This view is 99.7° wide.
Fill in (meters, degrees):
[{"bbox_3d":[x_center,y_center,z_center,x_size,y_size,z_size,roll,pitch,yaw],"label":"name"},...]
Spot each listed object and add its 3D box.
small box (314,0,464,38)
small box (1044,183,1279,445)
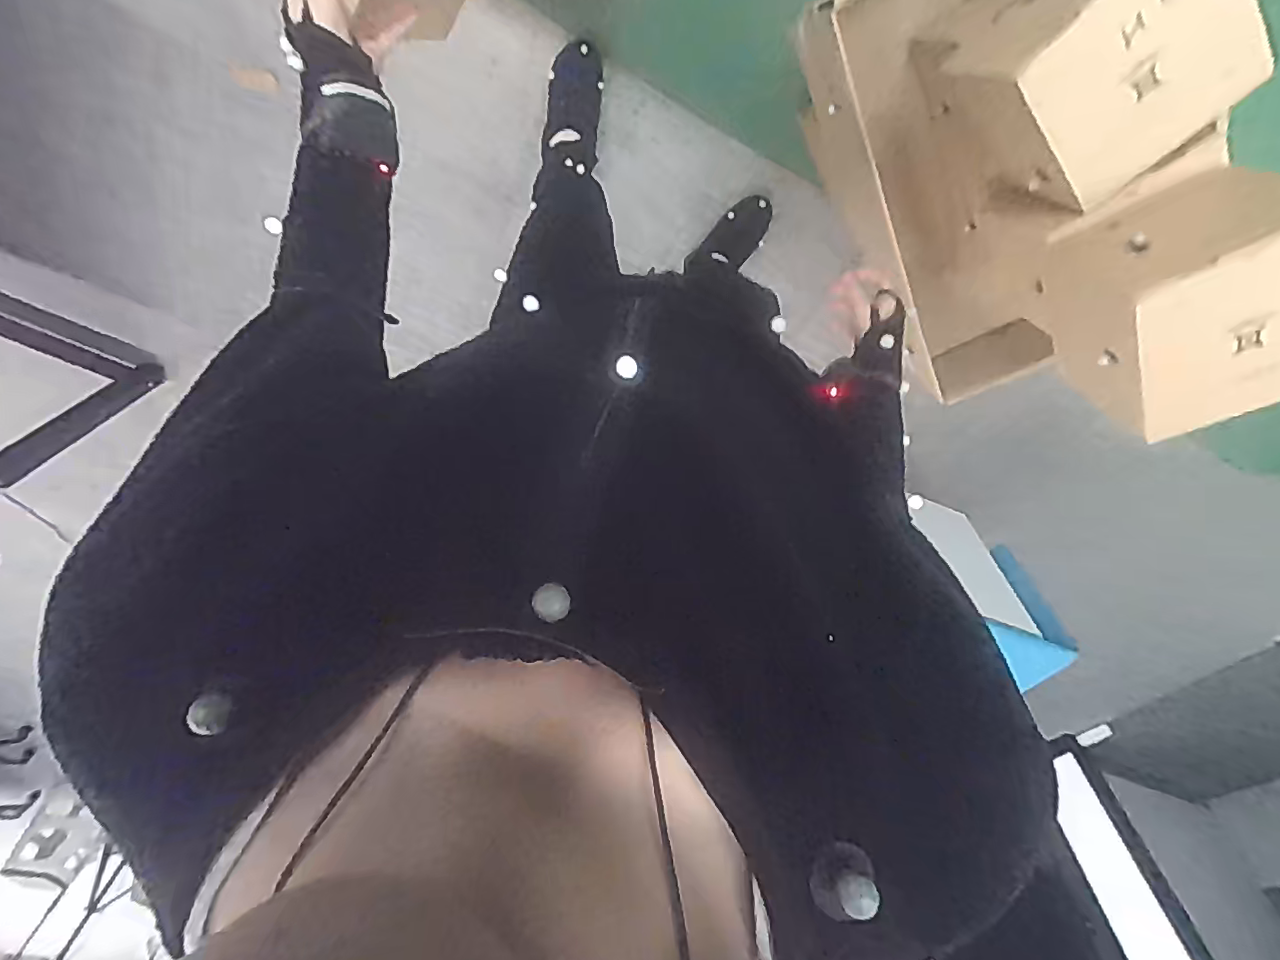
[{"bbox_3d":[-0.239,-0.541,0.477,0.168,0.176,0.179,45,129,-16],"label":"small box"},{"bbox_3d":[0.545,-0.173,0.544,0.168,0.176,0.179,-23,121,20],"label":"small box"}]
